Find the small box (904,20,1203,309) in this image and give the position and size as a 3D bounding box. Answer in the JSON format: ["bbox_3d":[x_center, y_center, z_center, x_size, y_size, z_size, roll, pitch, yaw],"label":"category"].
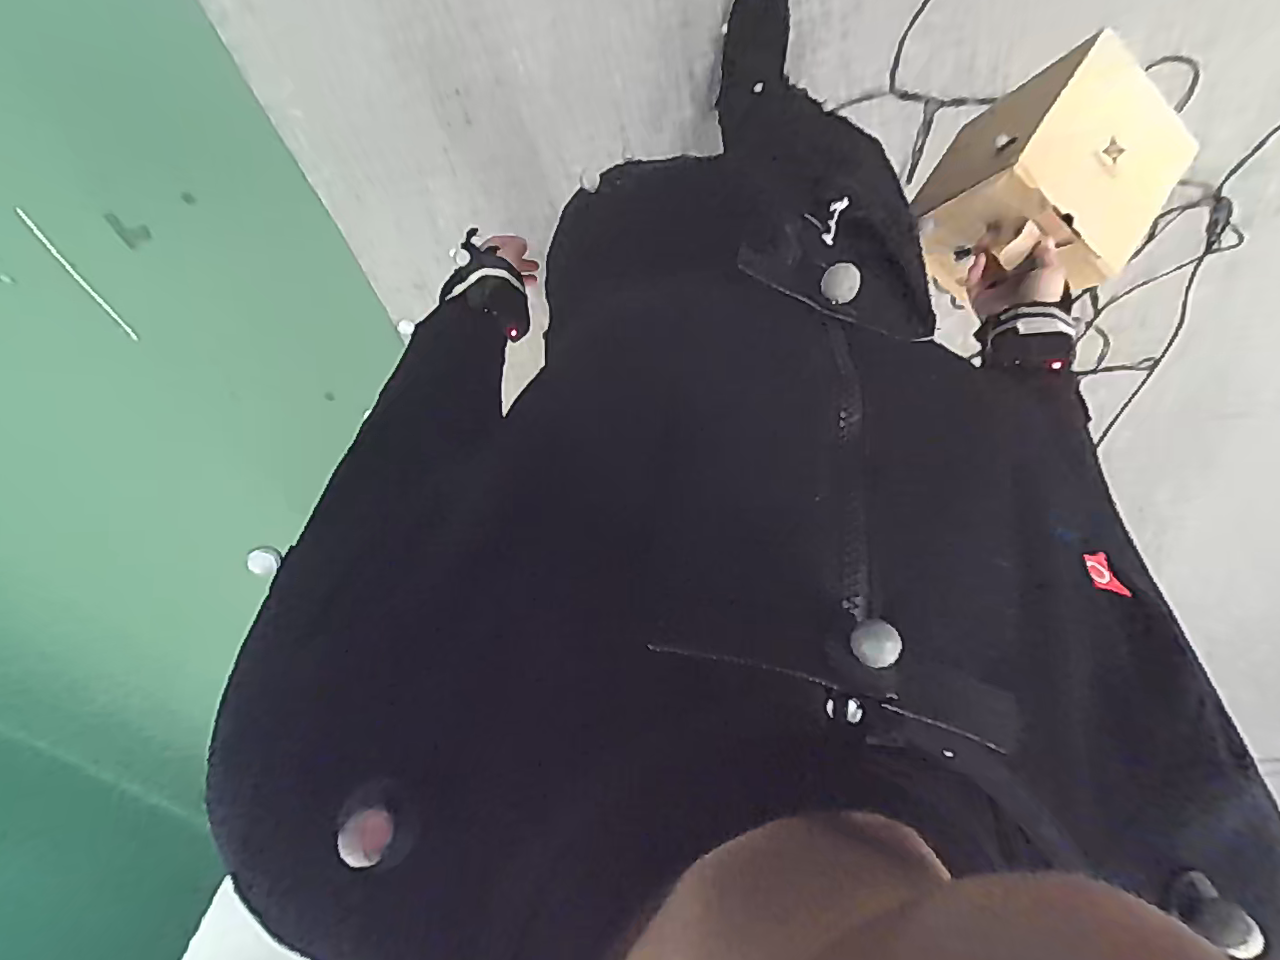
[{"bbox_3d":[0.432,-0.319,0.590,0.168,0.176,0.179,35,85,-14],"label":"small box"}]
